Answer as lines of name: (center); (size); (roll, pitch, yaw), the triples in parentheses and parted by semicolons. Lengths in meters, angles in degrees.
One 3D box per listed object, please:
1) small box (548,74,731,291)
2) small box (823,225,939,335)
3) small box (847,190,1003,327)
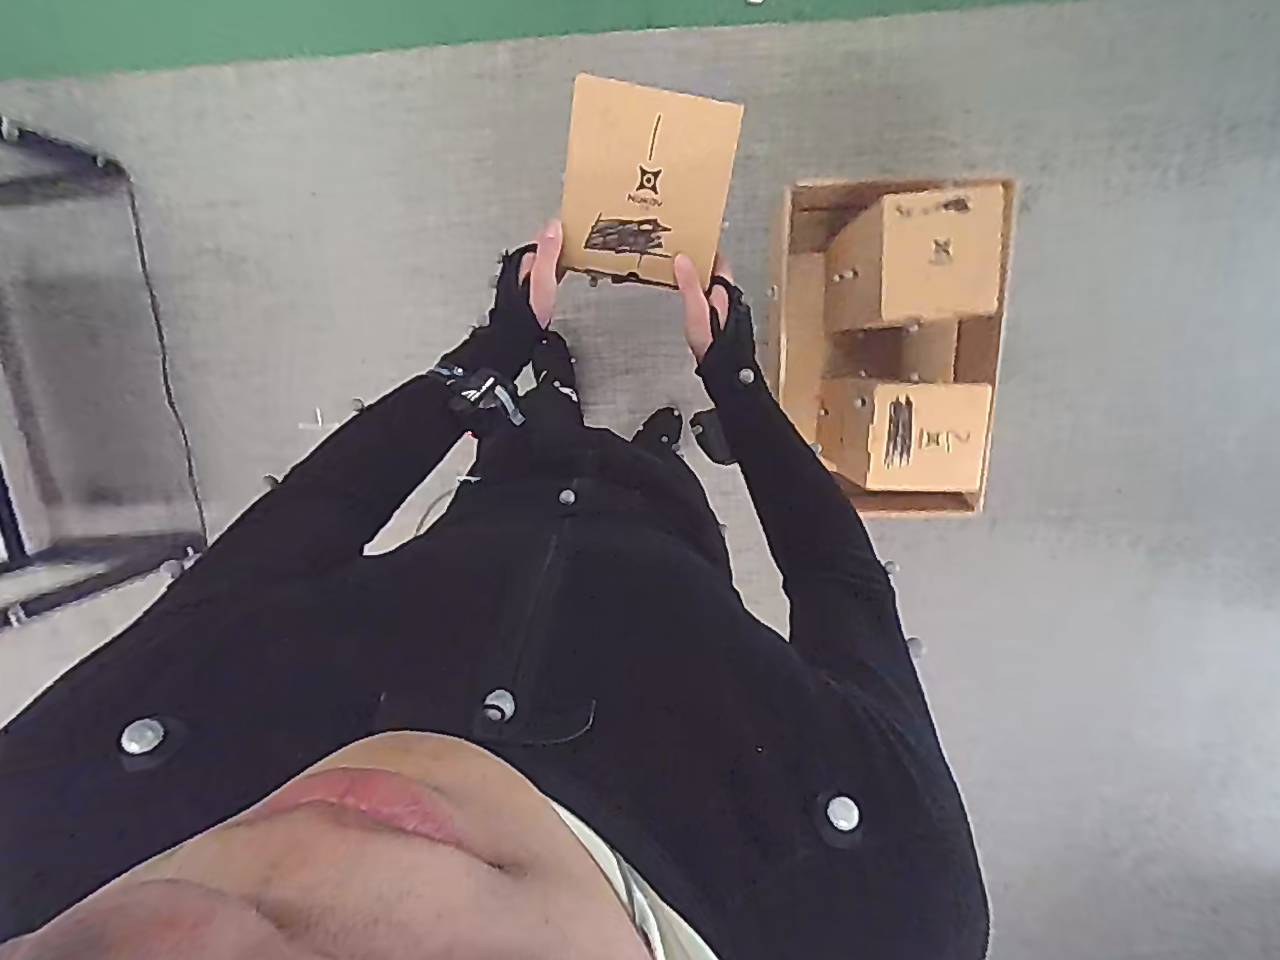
small box: (-0.004, -0.318, 0.617); (0.168, 0.176, 0.179); (8, 108, -3)
small box: (0.451, -0.372, 1.021); (0.168, 0.176, 0.179); (-1, 102, 4)
small box: (0.440, -0.339, 0.861); (0.168, 0.176, 0.179); (-3, 102, 5)
